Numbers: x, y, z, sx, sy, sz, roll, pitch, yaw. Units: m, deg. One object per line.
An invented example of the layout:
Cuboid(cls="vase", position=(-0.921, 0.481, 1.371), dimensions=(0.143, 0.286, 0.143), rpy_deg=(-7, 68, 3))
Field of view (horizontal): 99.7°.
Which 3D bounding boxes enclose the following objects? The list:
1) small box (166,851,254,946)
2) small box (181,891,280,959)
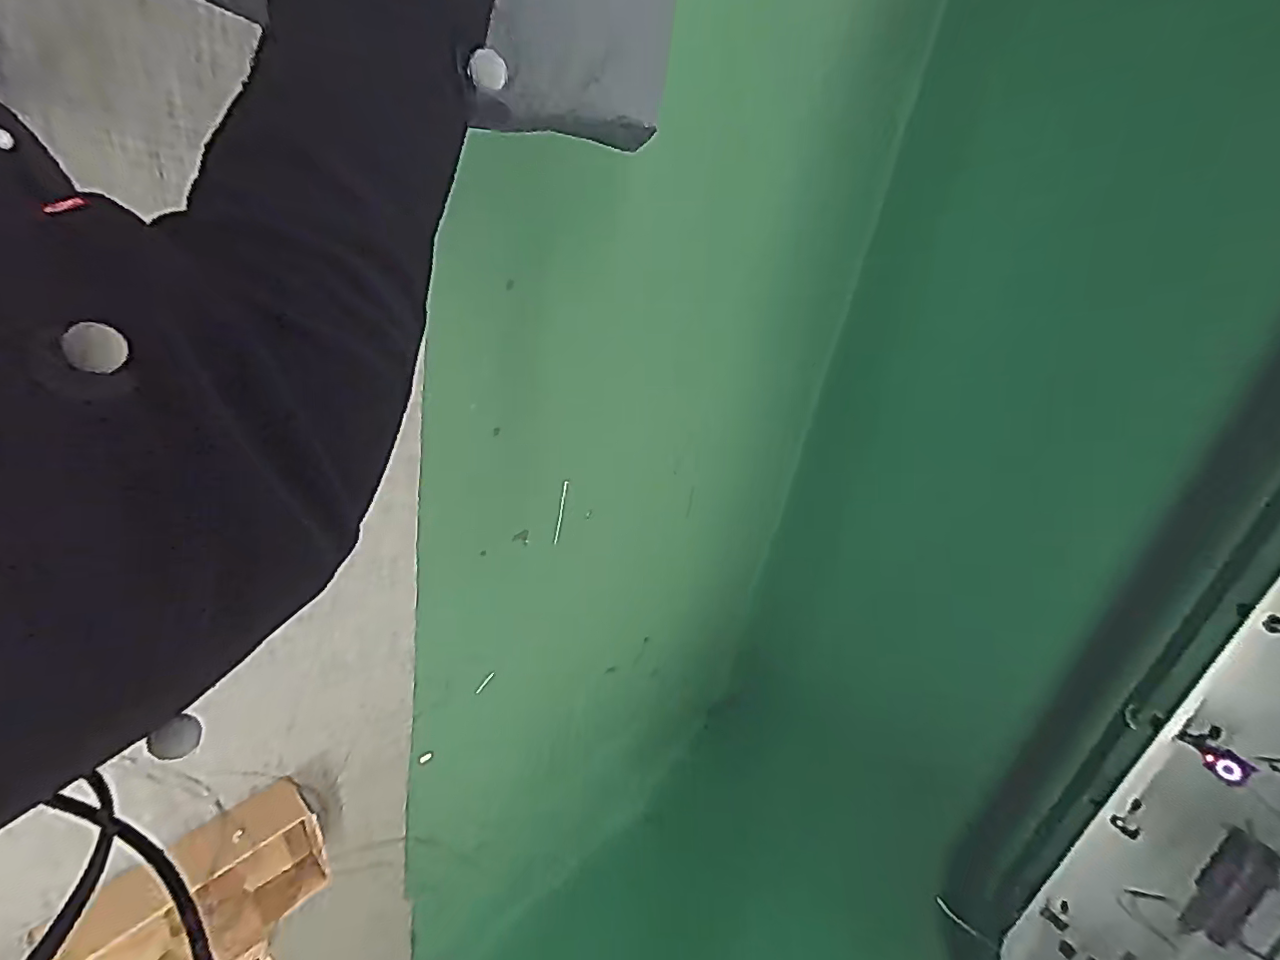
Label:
Cuboid(cls="small box", position=(-1.273, 1.270, 1.617), dimensions=(0.179, 0.176, 0.168), rpy_deg=(-21, 128, -44))
Cuboid(cls="small box", position=(-1.149, 1.322, 1.519), dimensions=(0.179, 0.176, 0.168), rpy_deg=(-18, 126, -46))
